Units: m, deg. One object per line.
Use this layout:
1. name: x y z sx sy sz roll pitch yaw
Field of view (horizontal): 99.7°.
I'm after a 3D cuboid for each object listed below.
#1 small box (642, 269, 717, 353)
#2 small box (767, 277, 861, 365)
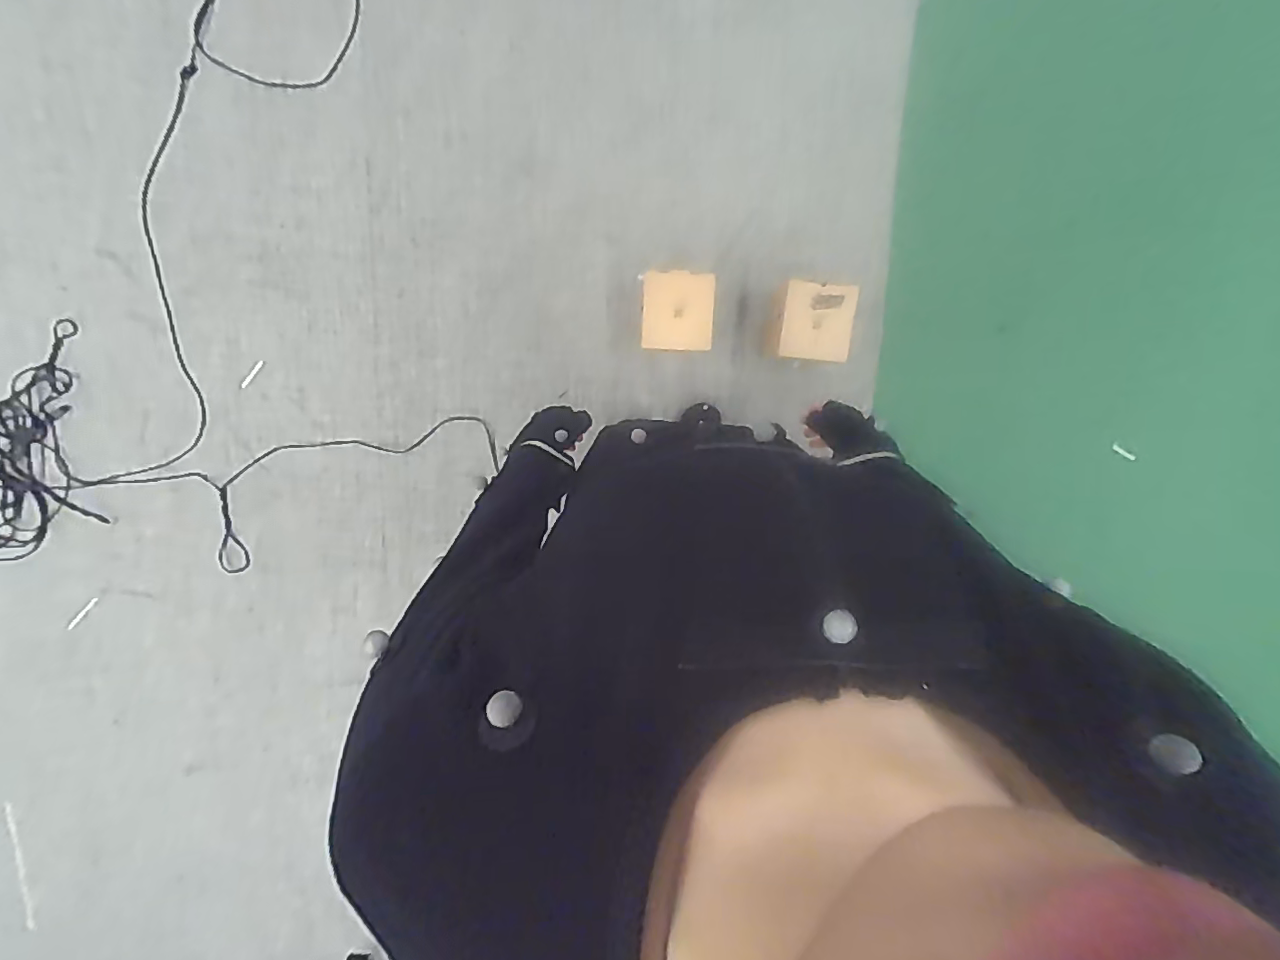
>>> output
1. small box: 0.093 -0.407 1.329 0.168 0.176 0.179 2 99 0
2. small box: 0.418 -0.383 1.330 0.168 0.176 0.179 6 100 0
